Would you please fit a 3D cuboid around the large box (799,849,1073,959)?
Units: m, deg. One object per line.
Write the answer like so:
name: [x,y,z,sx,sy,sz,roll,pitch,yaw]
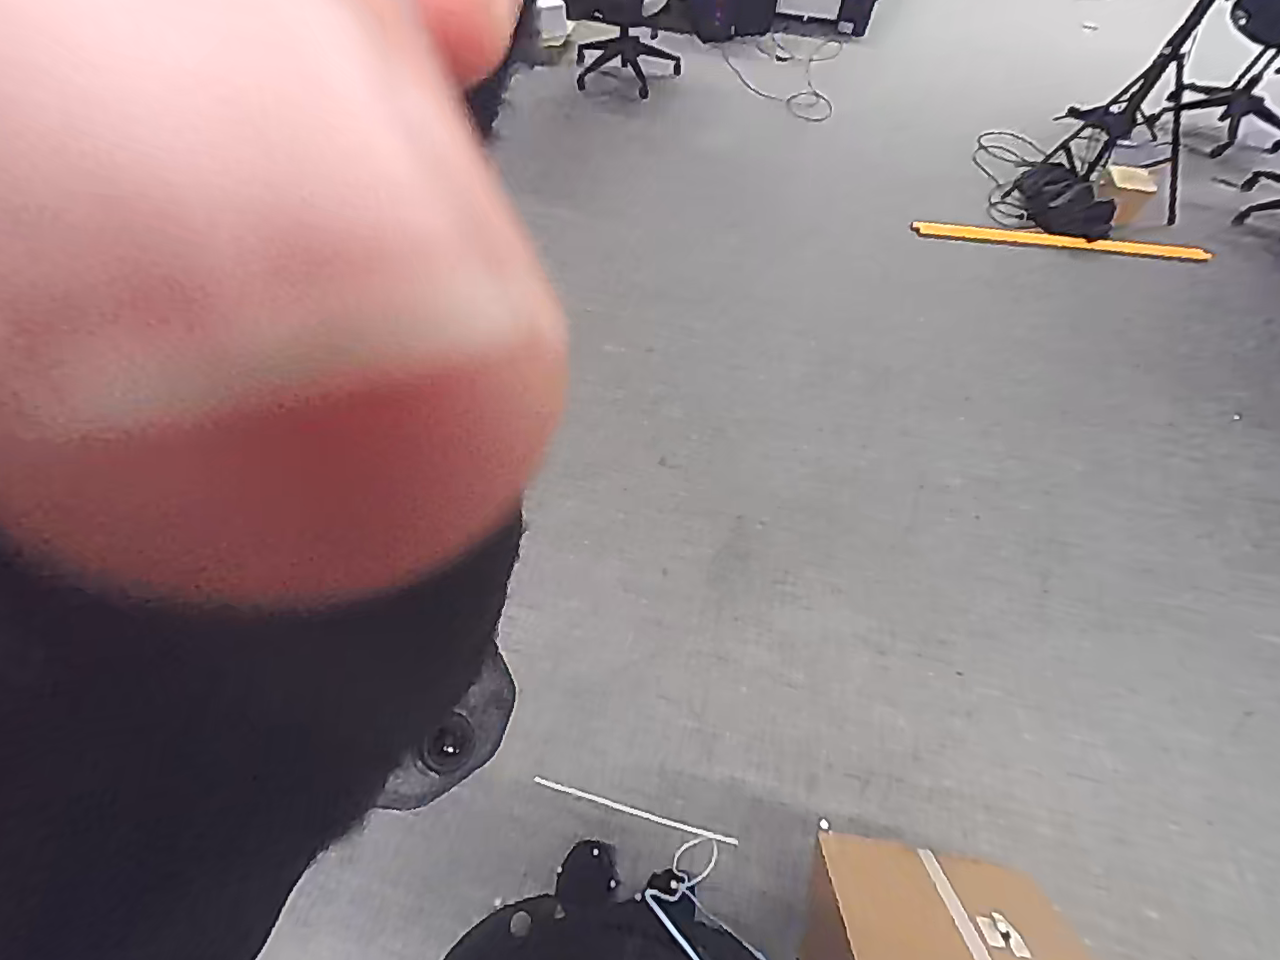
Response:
large box: [0.384,0.753,0.641,0.320,0.408,0.320,9,95,5]
